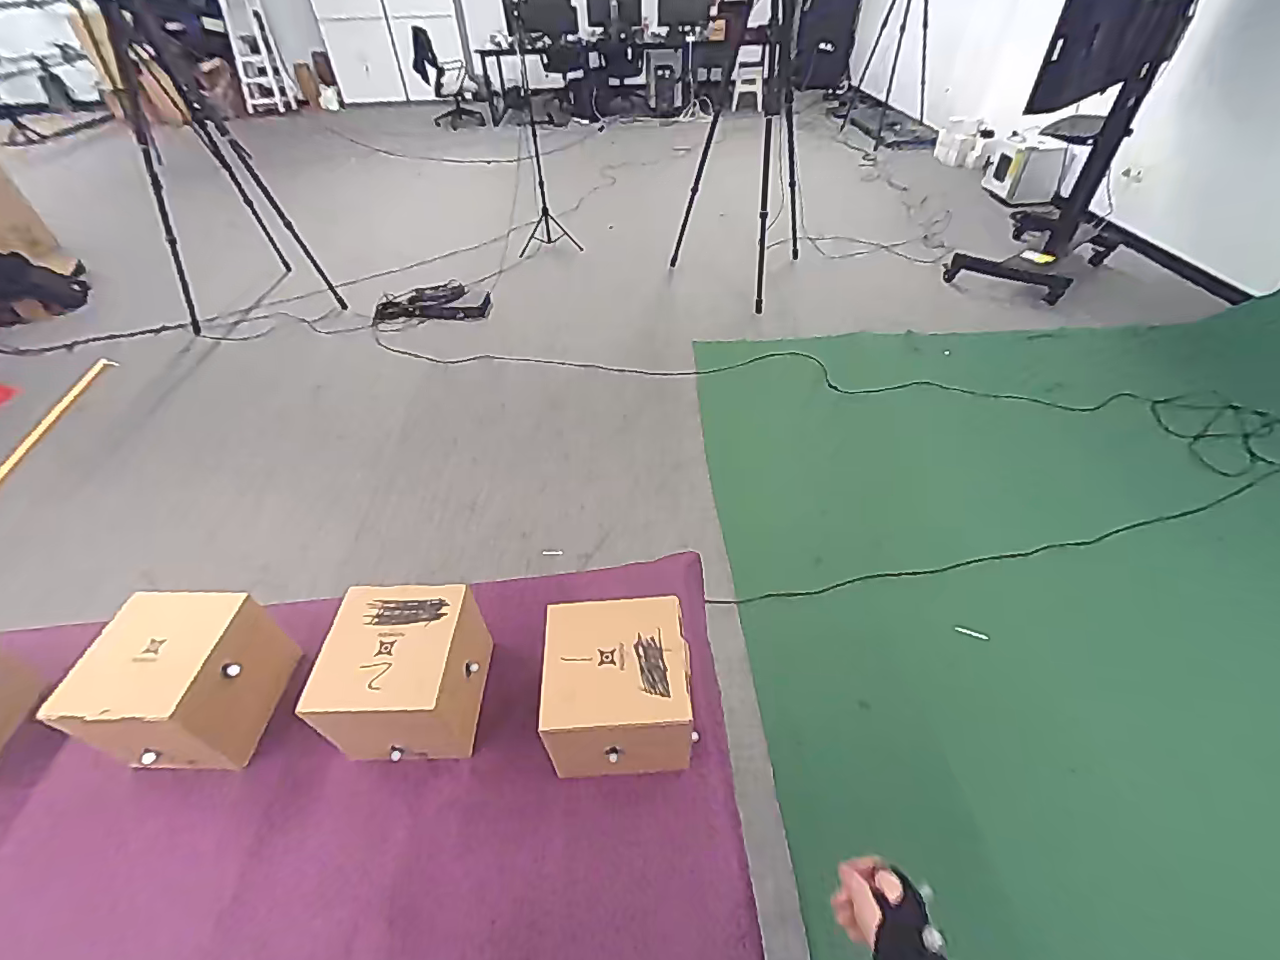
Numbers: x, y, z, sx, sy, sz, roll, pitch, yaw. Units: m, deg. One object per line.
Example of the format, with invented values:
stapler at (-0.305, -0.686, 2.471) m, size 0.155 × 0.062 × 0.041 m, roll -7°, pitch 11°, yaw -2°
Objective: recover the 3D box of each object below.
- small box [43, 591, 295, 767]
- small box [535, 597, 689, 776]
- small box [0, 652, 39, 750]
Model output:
small box at (-0.621, 0.275, 0.750) m, size 0.168 × 0.176 × 0.179 m, roll 0°, pitch 46°, yaw 3°
small box at (-0.031, 0.275, 0.717) m, size 0.179 × 0.176 × 0.168 m, roll -5°, pitch 44°, yaw 0°
small box at (-0.985, 0.318, 0.719) m, size 0.168 × 0.176 × 0.179 m, roll -5°, pitch 45°, yaw -3°
